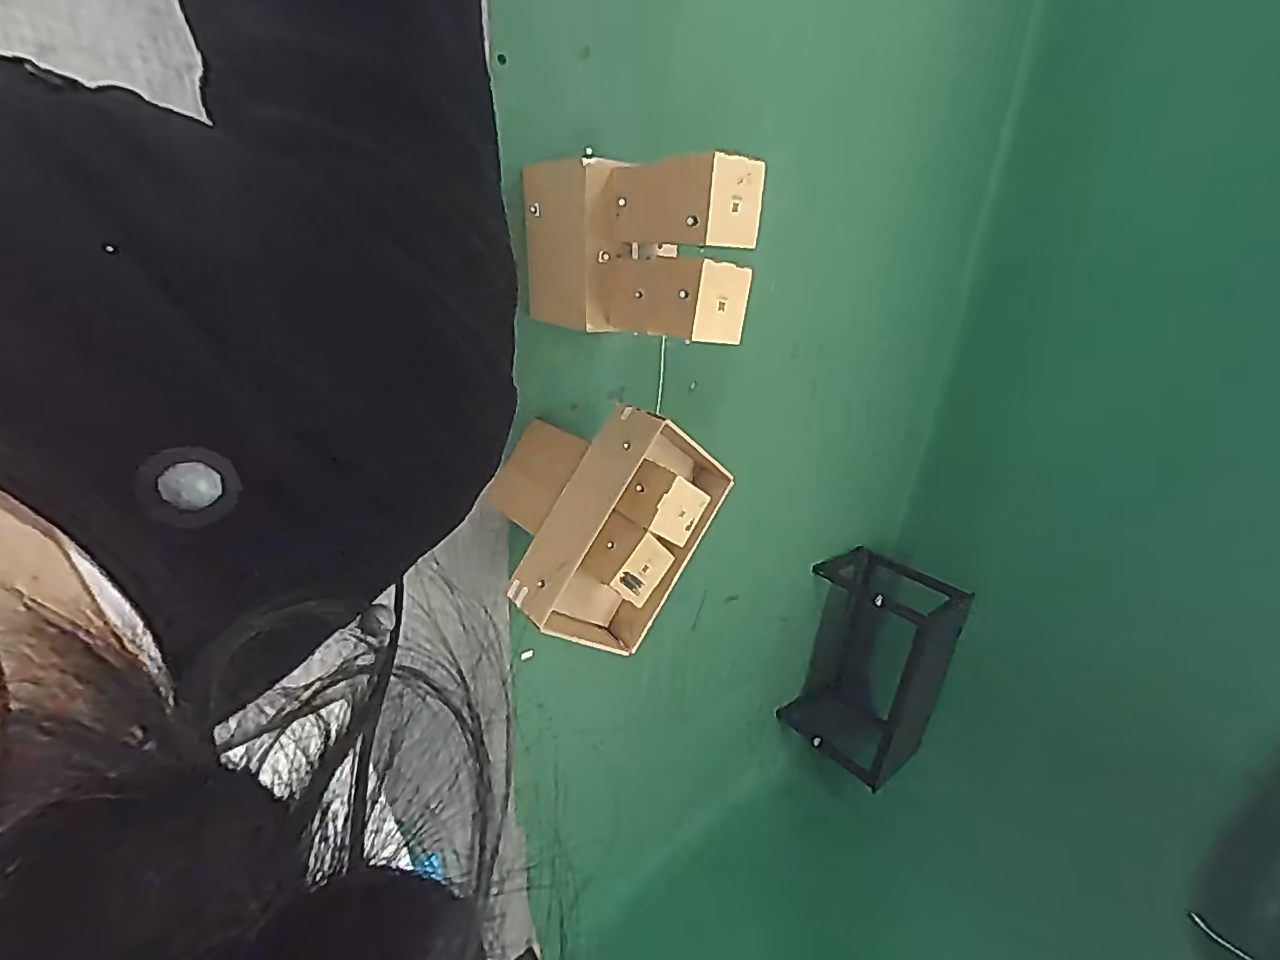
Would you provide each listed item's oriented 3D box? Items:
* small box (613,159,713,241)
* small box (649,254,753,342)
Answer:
[{"bbox_3d":[0.053,-0.678,1.322,0.179,0.176,0.168,-18,120,-35],"label":"small box"},{"bbox_3d":[0.139,-0.432,1.284,0.168,0.176,0.179,-7,113,-38],"label":"small box"}]
